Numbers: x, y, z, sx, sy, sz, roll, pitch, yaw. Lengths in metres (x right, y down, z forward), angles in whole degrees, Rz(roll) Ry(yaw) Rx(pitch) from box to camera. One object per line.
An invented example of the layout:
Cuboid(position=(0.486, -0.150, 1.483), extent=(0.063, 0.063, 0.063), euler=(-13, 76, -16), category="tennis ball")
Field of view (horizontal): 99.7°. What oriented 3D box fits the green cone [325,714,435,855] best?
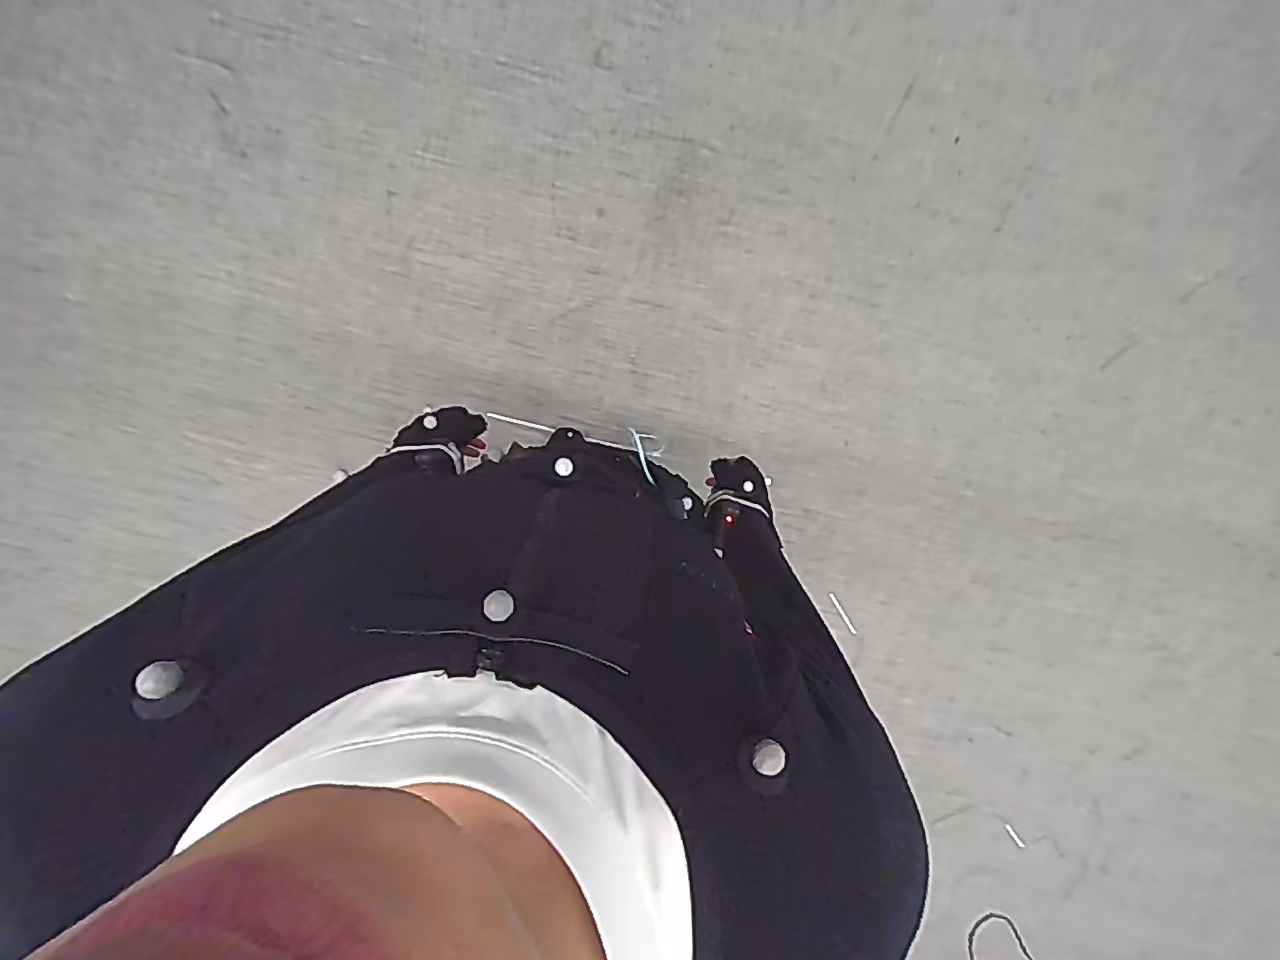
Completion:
Cuboid(position=(-0.683, 0.785, 1.354), extent=(0.202, 0.368, 0.200), euler=(12, 95, -4), category="green cone")
